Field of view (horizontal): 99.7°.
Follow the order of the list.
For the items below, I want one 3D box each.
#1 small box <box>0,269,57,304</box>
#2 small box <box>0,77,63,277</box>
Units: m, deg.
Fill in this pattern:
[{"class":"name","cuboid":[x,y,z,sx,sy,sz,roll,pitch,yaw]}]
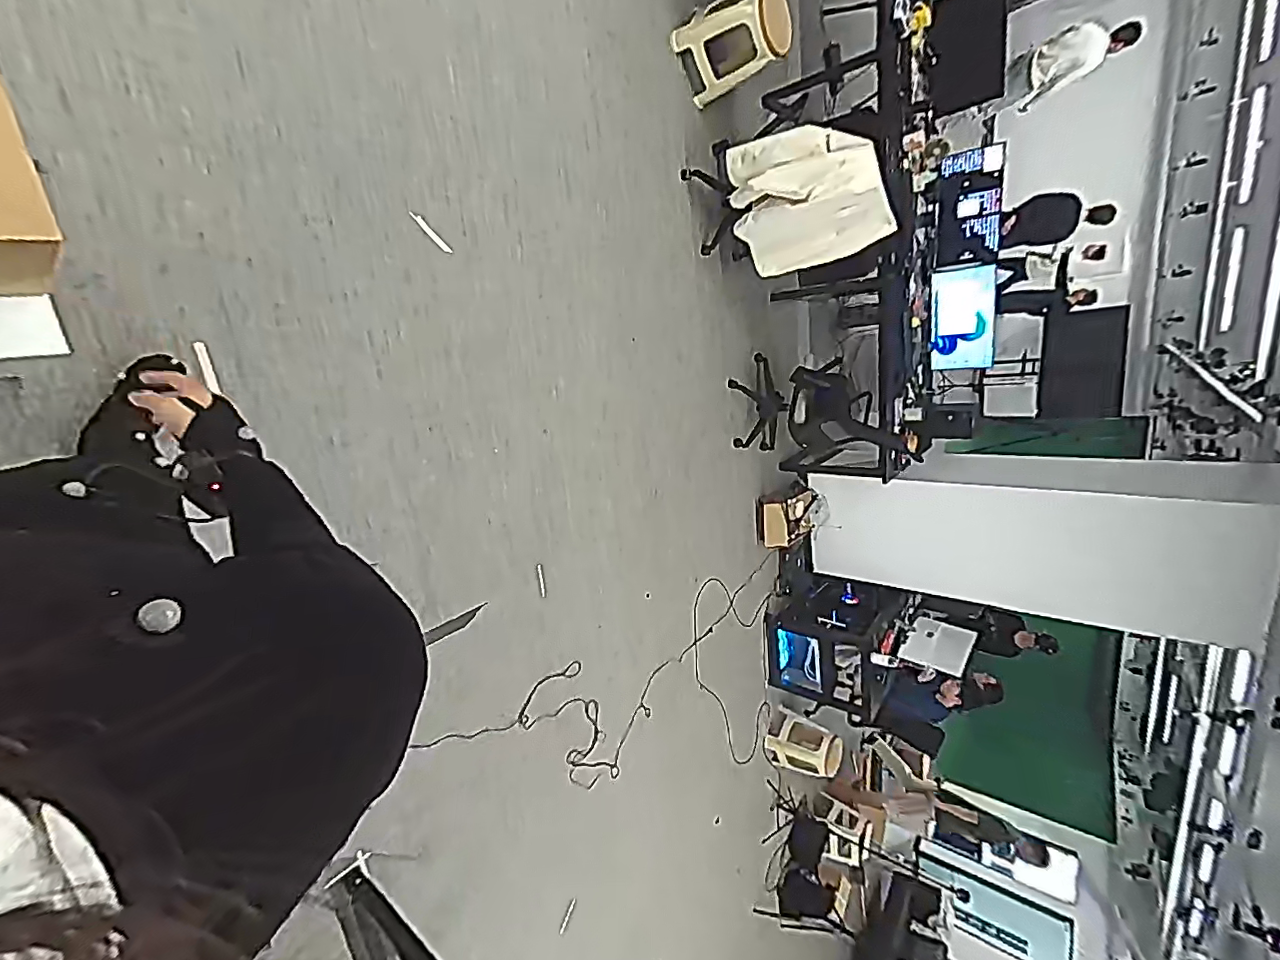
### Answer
[{"class":"small box","cuboid":[-0.796,-0.294,0.593,0.168,0.176,0.179,-26,113,-45]},{"class":"small box","cuboid":[-0.669,-0.283,0.487,0.168,0.176,0.179,-25,112,-46]}]
